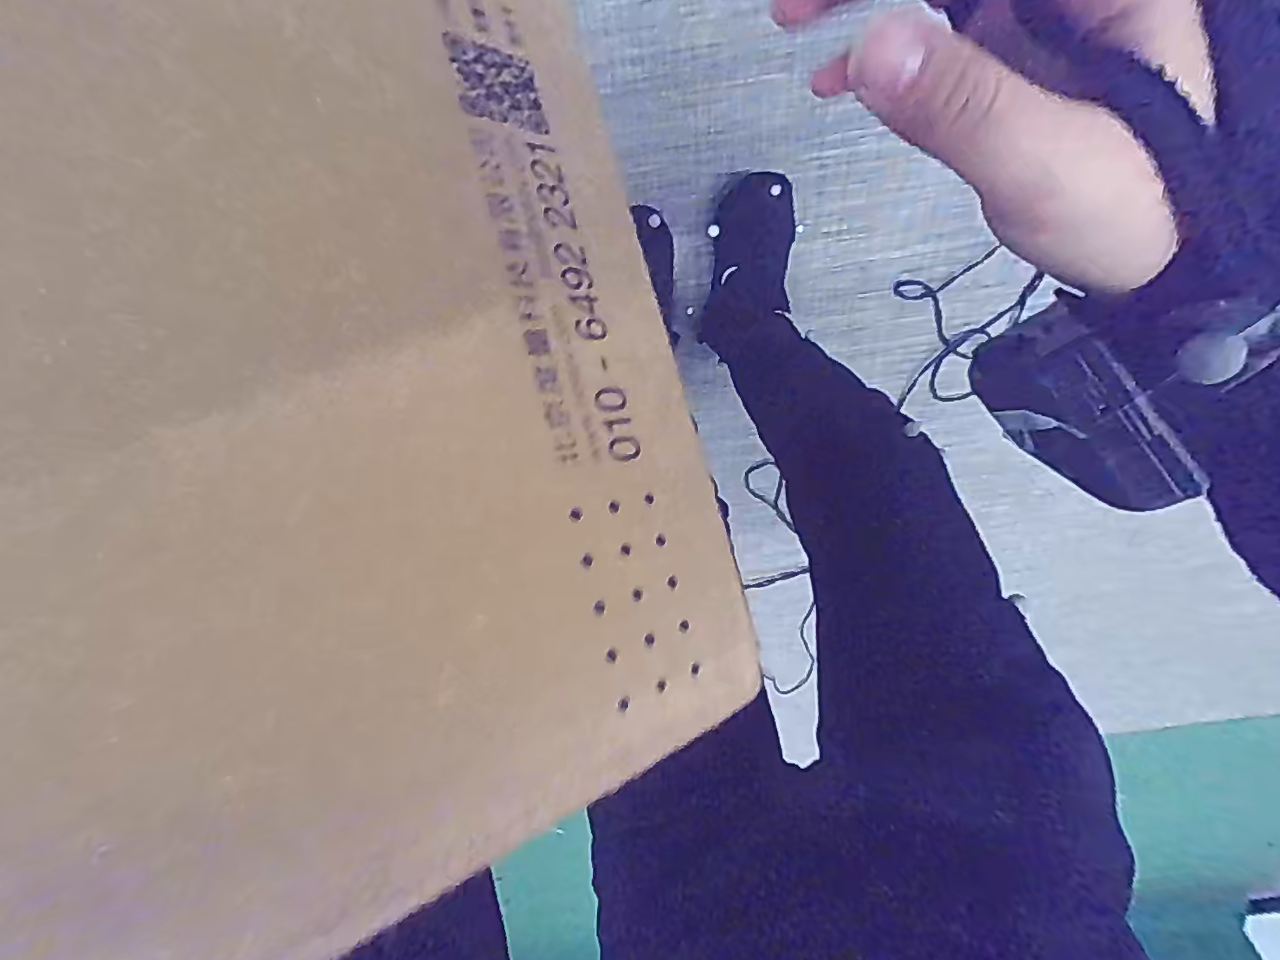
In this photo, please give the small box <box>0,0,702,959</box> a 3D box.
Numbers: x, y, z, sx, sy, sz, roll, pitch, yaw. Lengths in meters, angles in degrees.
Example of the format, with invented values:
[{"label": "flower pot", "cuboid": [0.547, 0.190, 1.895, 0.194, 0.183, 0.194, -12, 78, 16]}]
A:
[{"label": "small box", "cuboid": [-0.116, -0.003, 0.122, 0.176, 0.168, 0.179, -11, 171, -37]}]
